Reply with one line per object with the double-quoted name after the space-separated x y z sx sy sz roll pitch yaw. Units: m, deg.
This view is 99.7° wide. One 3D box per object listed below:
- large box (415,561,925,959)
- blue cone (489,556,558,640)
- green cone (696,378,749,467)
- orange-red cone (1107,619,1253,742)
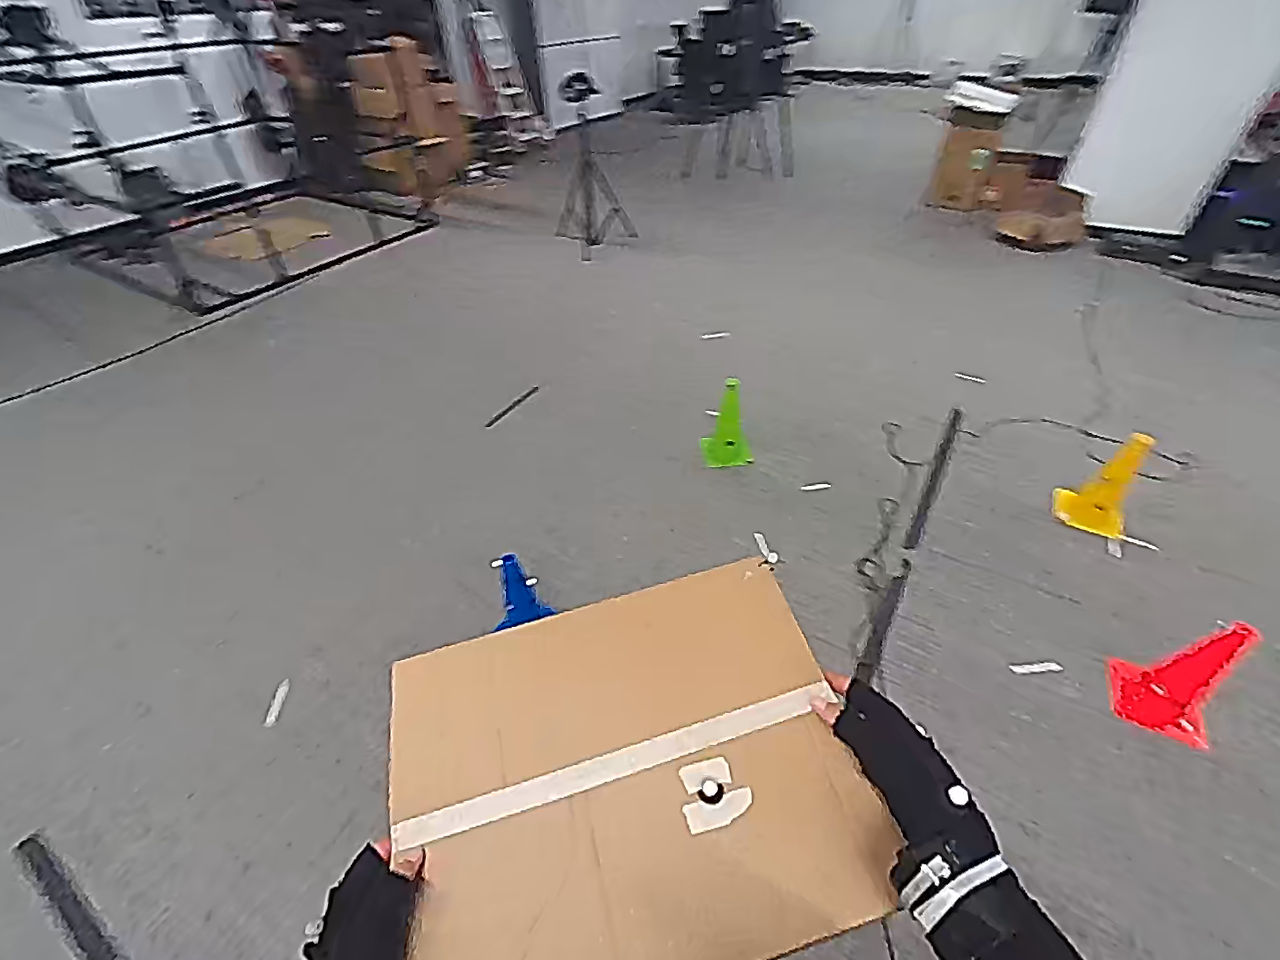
0.006 0.346 0.605 0.408 0.320 0.320 -14 52 -6 "large box"
-0.369 0.364 1.600 0.192 0.380 0.193 23 48 27 "blue cone"
0.345 -0.256 2.223 0.202 0.368 0.200 -7 42 -2 "green cone"
1.403 0.468 1.373 0.198 0.360 0.199 20 45 22 "orange-red cone"
